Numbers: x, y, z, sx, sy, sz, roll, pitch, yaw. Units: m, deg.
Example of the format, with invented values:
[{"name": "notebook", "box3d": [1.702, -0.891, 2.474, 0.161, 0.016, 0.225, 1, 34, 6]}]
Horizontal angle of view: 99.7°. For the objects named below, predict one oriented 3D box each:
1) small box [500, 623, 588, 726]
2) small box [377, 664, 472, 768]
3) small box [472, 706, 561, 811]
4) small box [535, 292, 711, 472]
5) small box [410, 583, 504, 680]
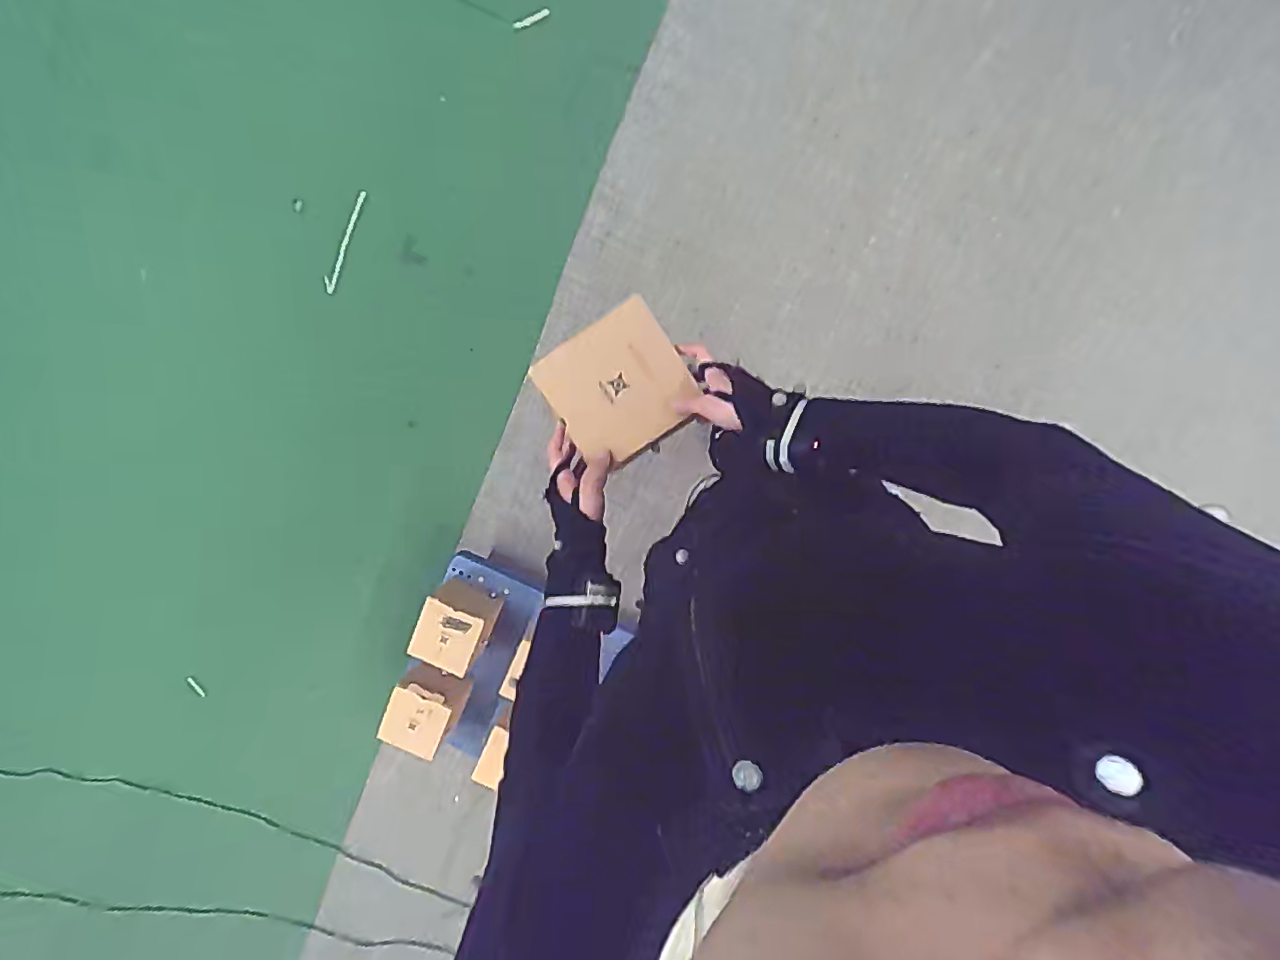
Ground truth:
[{"name": "small box", "box3d": [-0.251, 0.517, 1.468, 0.168, 0.176, 0.179, 26, 99, 1]}, {"name": "small box", "box3d": [-0.594, 0.653, 1.514, 0.168, 0.176, 0.179, 24, 99, 0]}, {"name": "small box", "box3d": [-0.337, 0.764, 1.510, 0.168, 0.176, 0.179, 25, 98, 2]}, {"name": "small box", "box3d": [-0.012, -0.125, 0.757, 0.179, 0.176, 0.168, -32, 90, 8]}, {"name": "small box", "box3d": [-0.495, 0.408, 1.491, 0.168, 0.176, 0.179, 24, 99, 2]}]
